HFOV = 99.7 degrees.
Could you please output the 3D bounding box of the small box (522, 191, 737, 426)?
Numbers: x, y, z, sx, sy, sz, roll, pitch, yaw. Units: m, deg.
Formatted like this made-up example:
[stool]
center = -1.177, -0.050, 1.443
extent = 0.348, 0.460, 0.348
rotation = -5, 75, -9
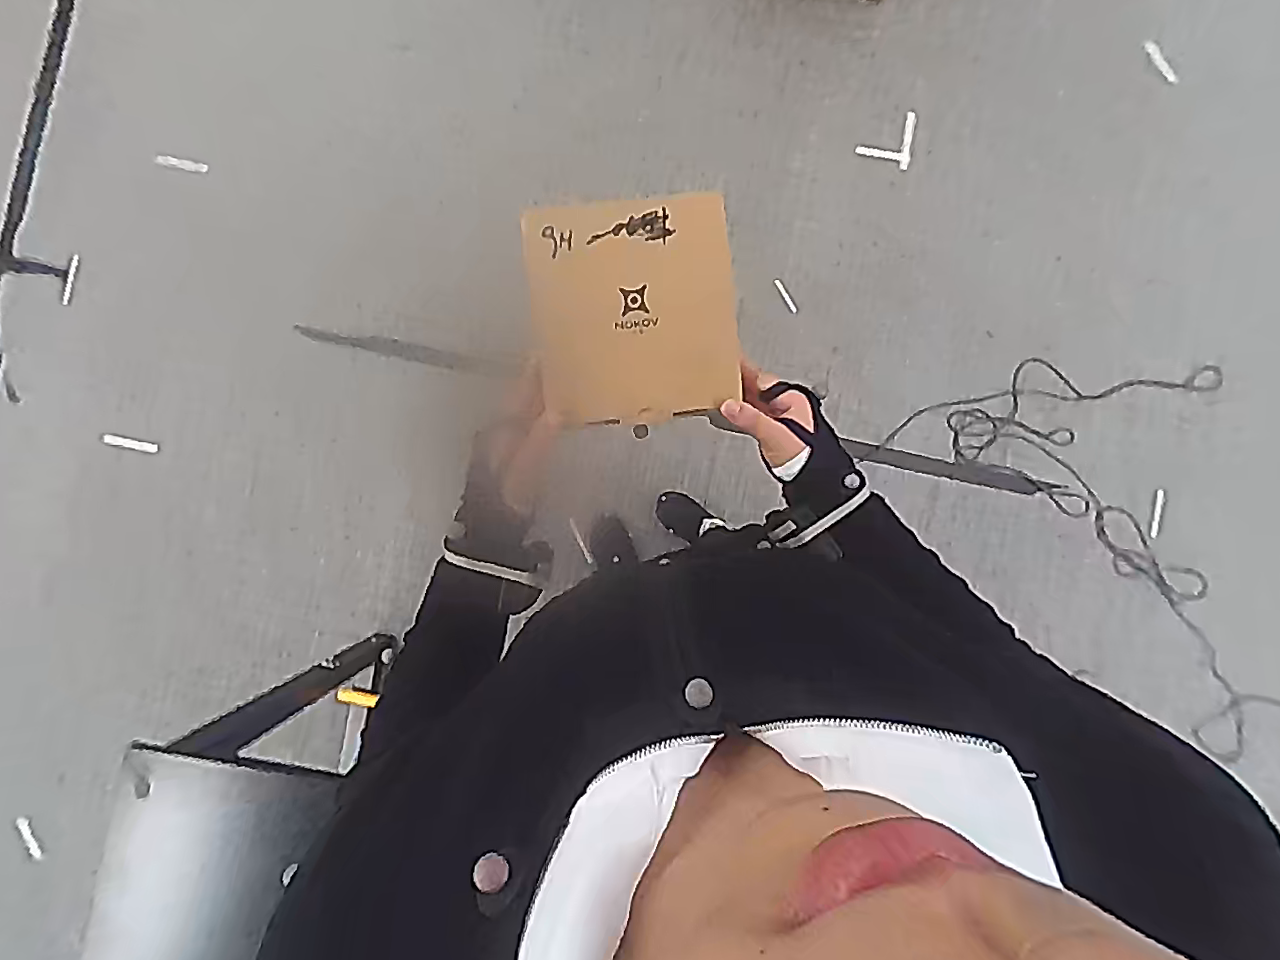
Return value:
[small box]
center = -0.008, -0.149, 0.522
extent = 0.168, 0.176, 0.179
rotation = -6, 96, -2
